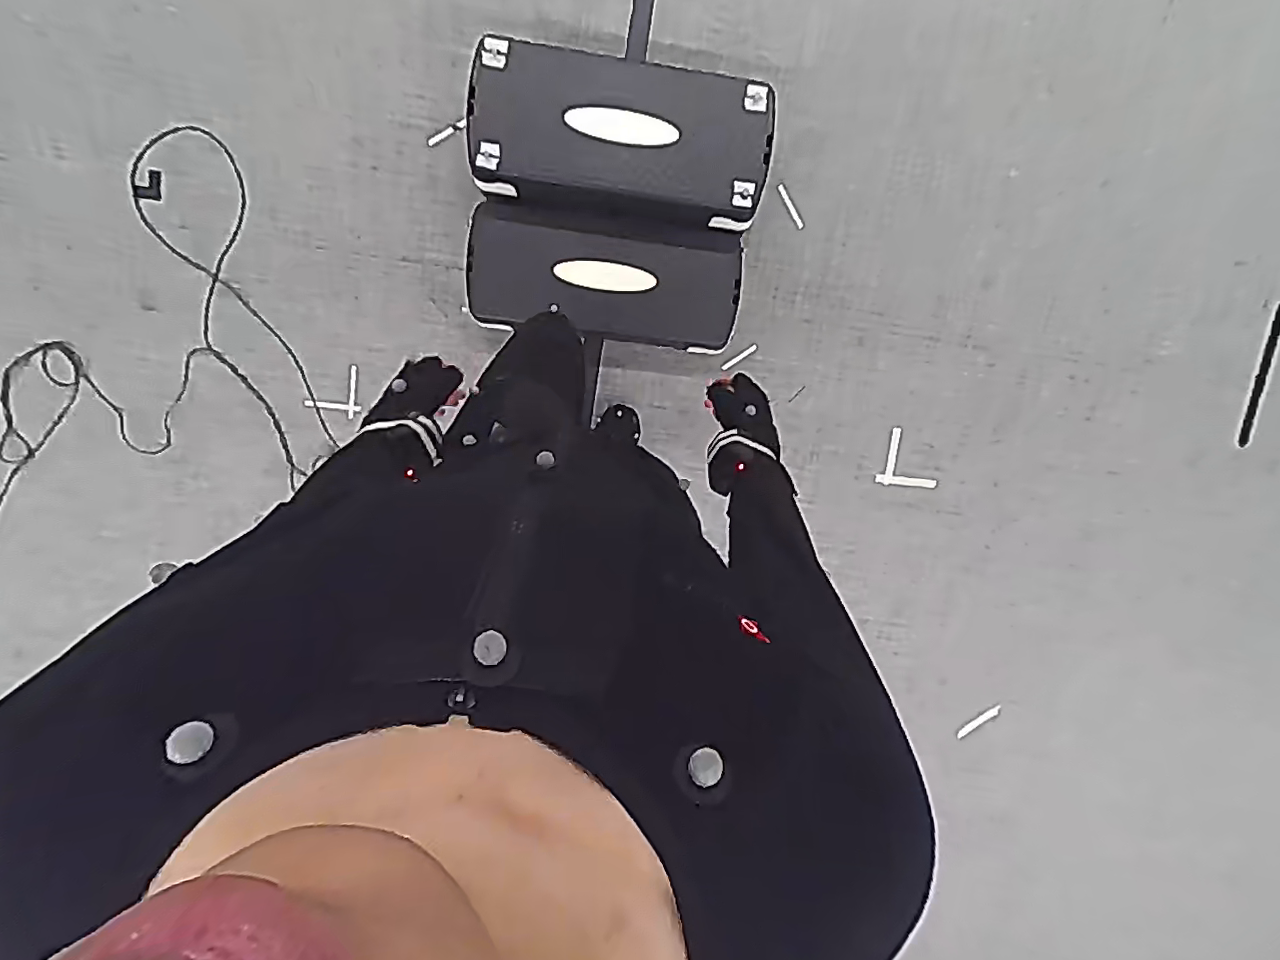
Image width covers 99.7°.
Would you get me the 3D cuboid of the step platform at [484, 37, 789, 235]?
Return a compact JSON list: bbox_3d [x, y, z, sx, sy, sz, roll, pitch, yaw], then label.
[{"bbox_3d":[-0.008,-0.782,1.258,0.684,0.204,0.286,6,99,-4],"label":"step platform"}]
